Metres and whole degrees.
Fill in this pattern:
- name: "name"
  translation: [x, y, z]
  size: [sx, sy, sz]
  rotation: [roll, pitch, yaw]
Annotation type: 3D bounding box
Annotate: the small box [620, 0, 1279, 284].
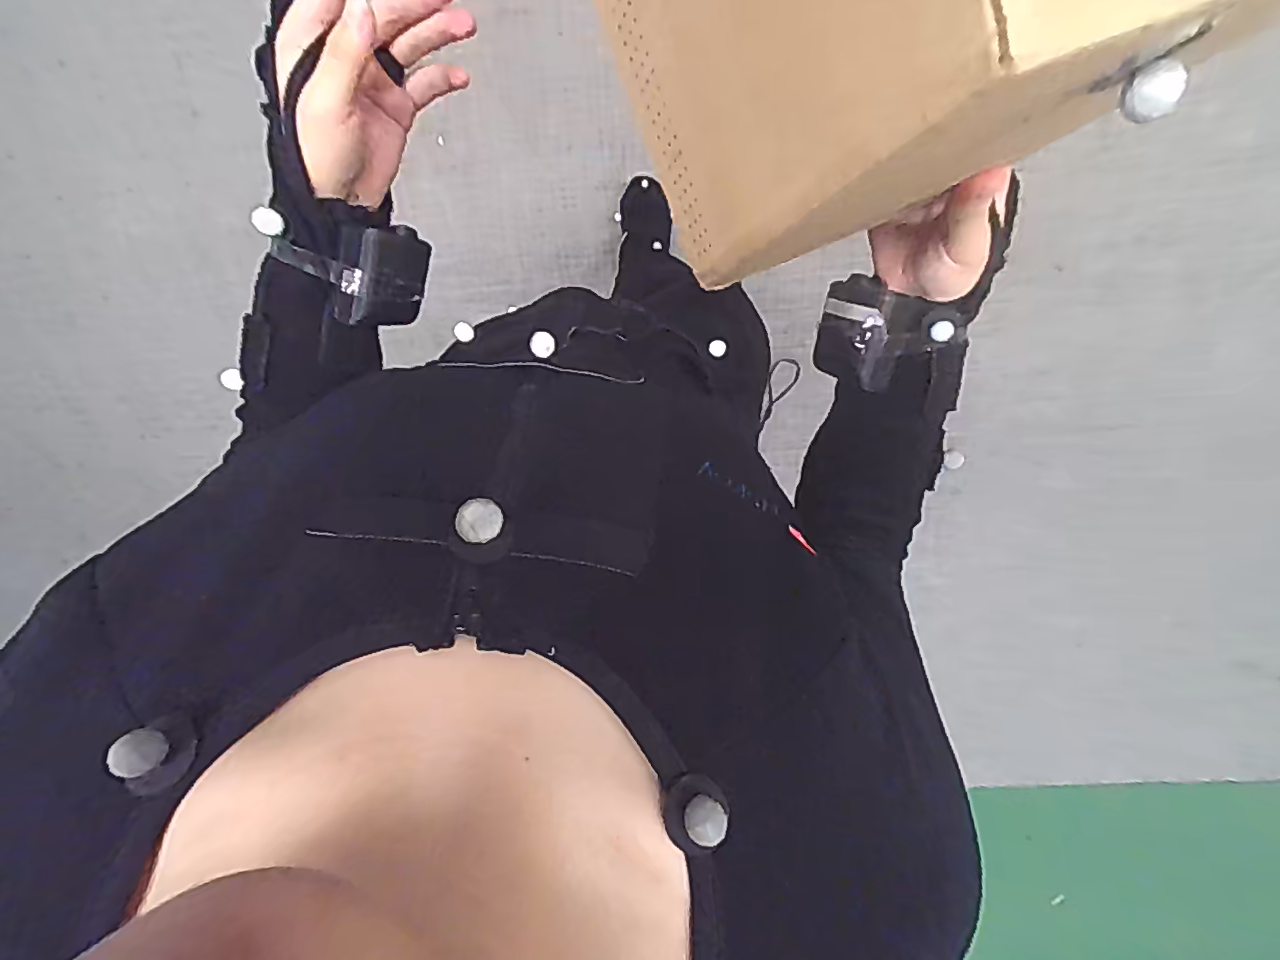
- name: "small box"
  translation: [0.097, -0.194, 0.183]
  size: [0.168, 0.176, 0.179]
  rotation: [-25, 100, -9]
